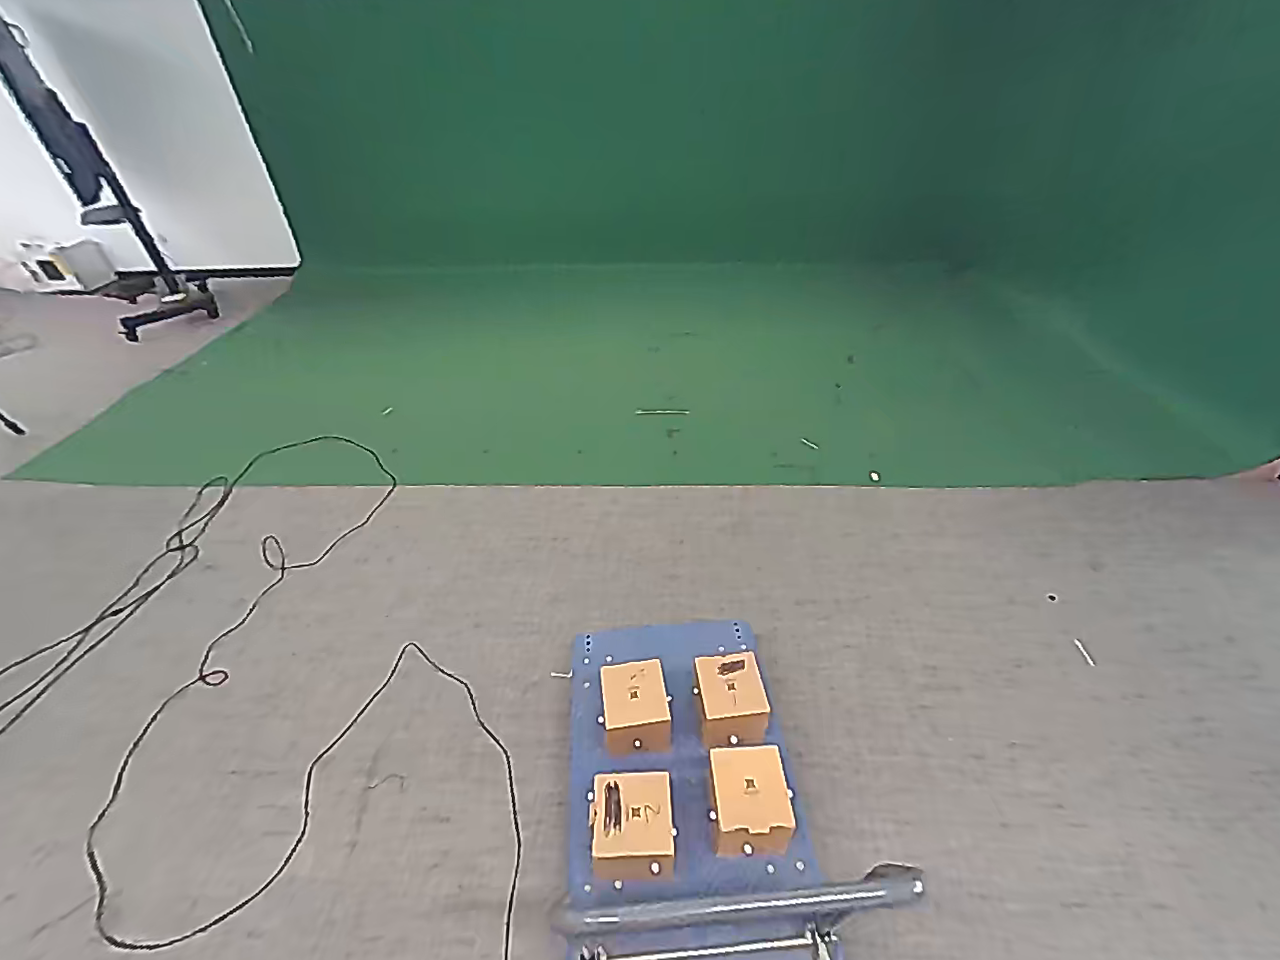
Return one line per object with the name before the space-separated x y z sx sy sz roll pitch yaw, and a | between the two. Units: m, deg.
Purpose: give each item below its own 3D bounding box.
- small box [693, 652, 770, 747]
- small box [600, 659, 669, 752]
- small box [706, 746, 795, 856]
small box | 0.239 0.594 1.464 0.168 0.176 0.179 -5 41 -3
small box | -0.015 0.611 1.453 0.168 0.176 0.179 -5 40 -6
small box | 0.251 0.756 1.276 0.168 0.176 0.179 -3 39 -1
